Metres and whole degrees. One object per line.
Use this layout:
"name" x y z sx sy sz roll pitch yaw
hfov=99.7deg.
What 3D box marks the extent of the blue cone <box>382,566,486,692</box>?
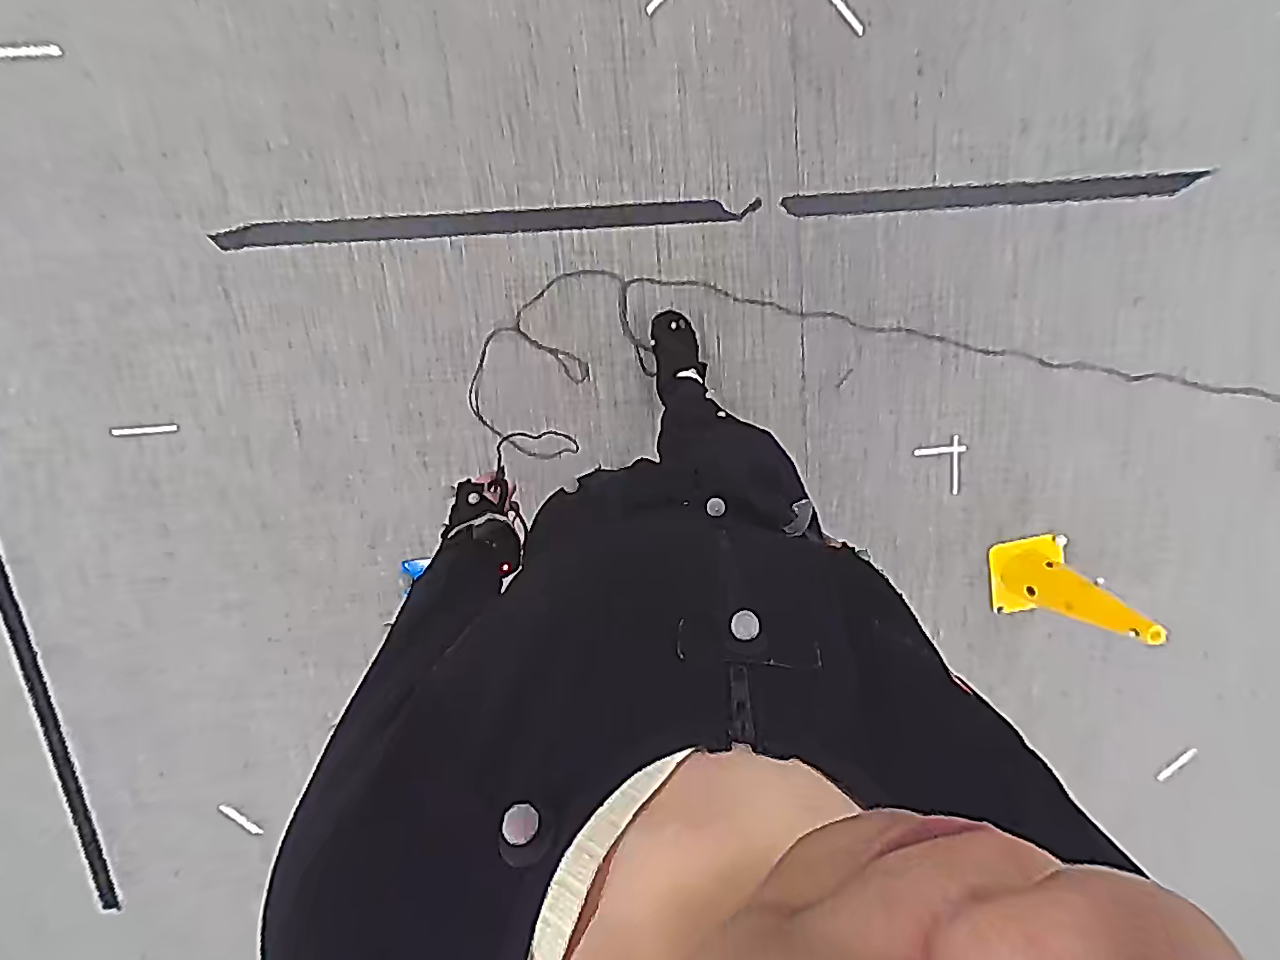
"blue cone" -0.493 0.346 1.223 0.193 0.380 0.192 -4 102 -2
